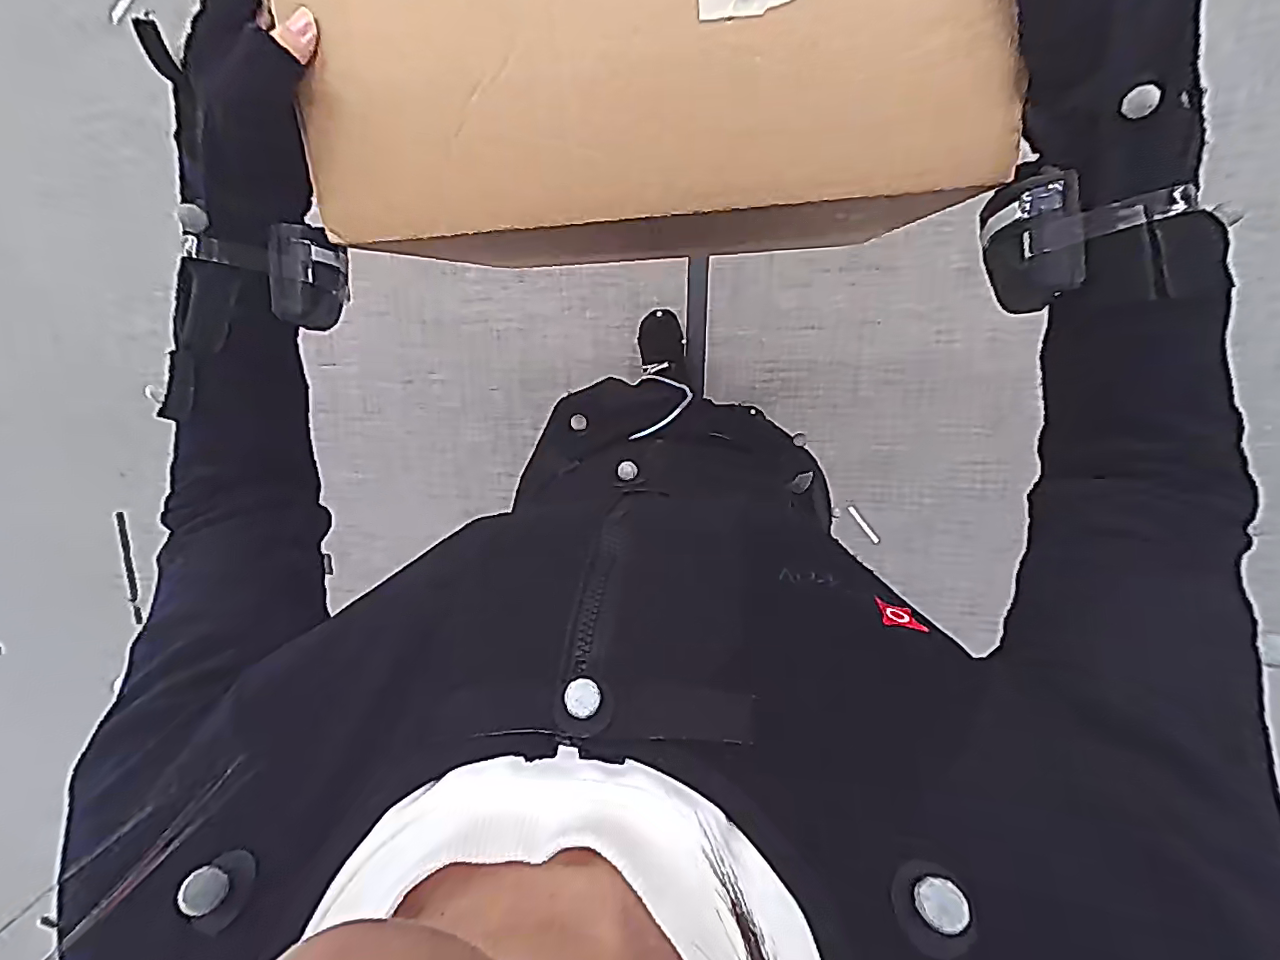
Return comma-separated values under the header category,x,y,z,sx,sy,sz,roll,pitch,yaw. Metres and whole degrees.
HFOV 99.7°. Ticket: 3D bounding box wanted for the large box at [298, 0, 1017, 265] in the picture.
category,x,y,z,sx,sy,sz,roll,pitch,yaw
large box,0.011,-0.361,0.424,0.408,0.320,0.320,-2,109,8
